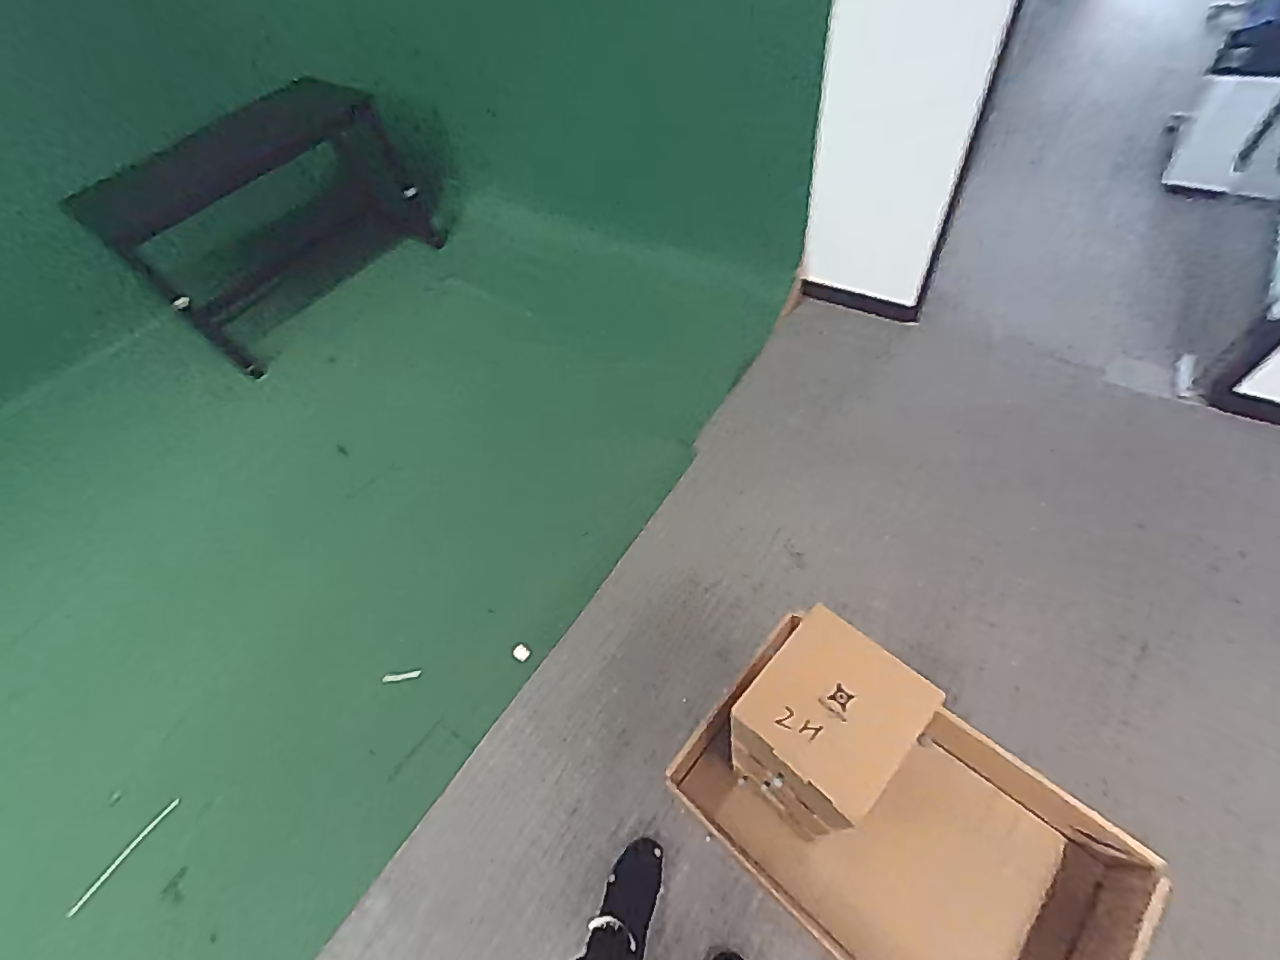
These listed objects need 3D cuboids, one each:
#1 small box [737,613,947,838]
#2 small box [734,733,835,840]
[{"bbox_3d":[0.233,0.303,0.672,0.179,0.176,0.168,-43,60,-18],"label":"small box"},{"bbox_3d":[0.252,0.396,0.808,0.168,0.176,0.179,37,70,27],"label":"small box"}]
